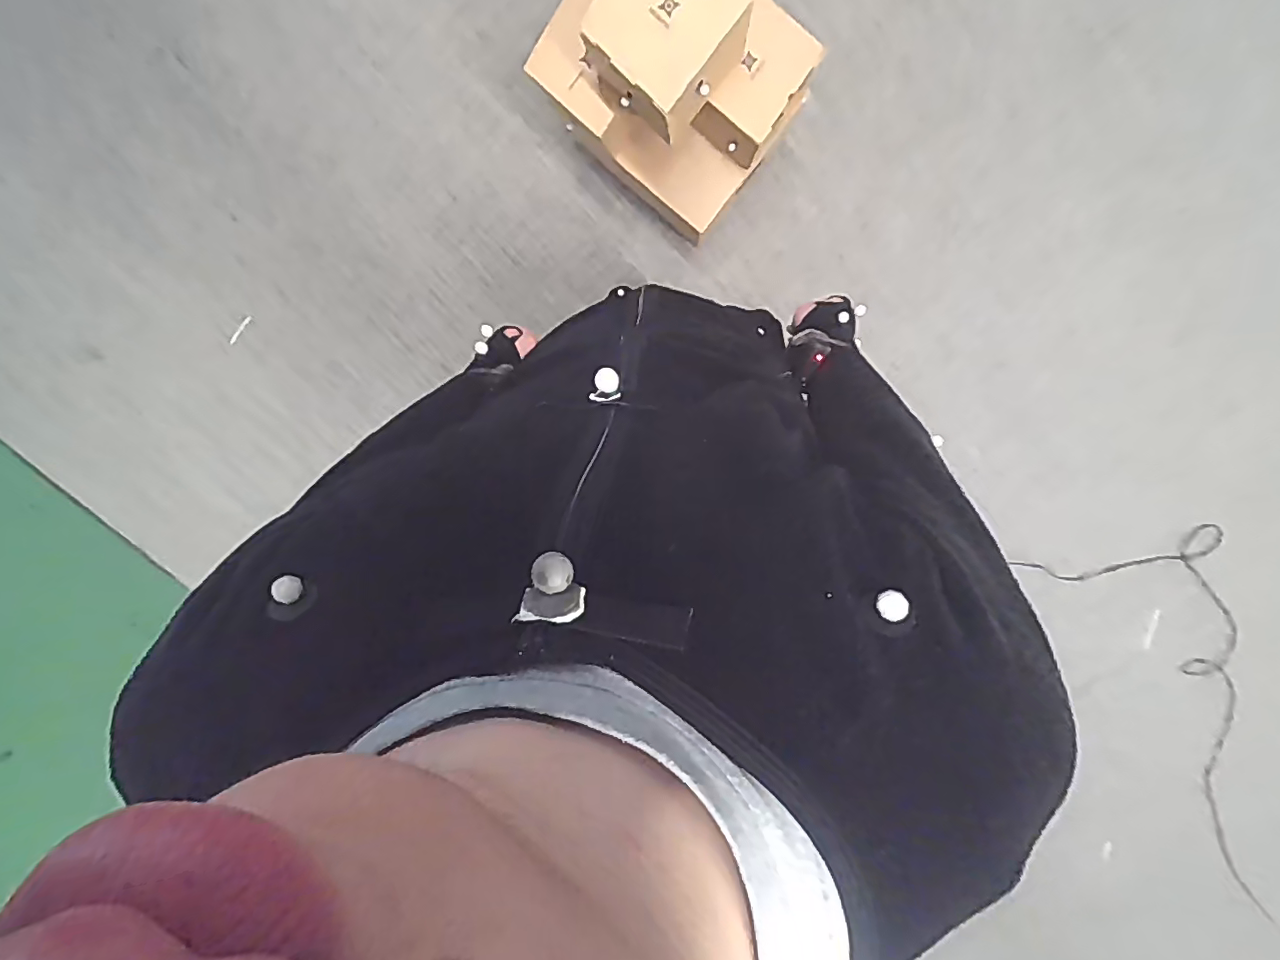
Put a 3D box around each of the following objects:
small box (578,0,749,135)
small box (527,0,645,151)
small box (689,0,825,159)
[{"bbox_3d":[0.040,-0.649,0.788,0.168,0.176,0.179,41,109,-8],"label":"small box"},{"bbox_3d":[-0.066,-0.723,0.948,0.168,0.176,0.179,40,110,-8],"label":"small box"},{"bbox_3d":[0.183,-0.692,0.937,0.179,0.176,0.168,36,105,-6],"label":"small box"}]
